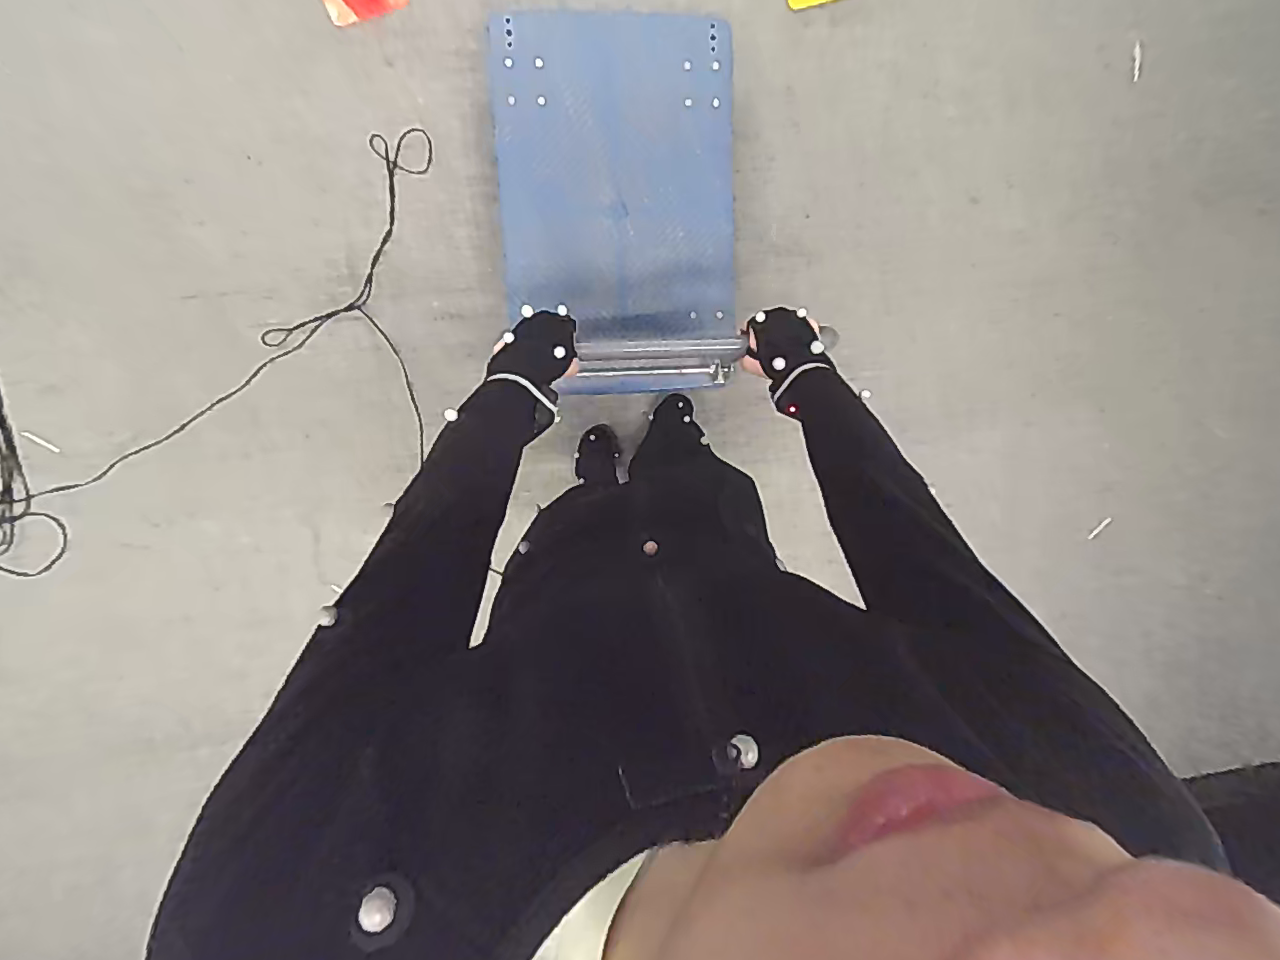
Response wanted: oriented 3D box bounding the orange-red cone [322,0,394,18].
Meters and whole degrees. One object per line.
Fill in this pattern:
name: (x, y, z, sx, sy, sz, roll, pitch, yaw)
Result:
orange-red cone: (-0.687, -1.226, 1.149, 0.199, 0.360, 0.198, -21, 100, -1)
